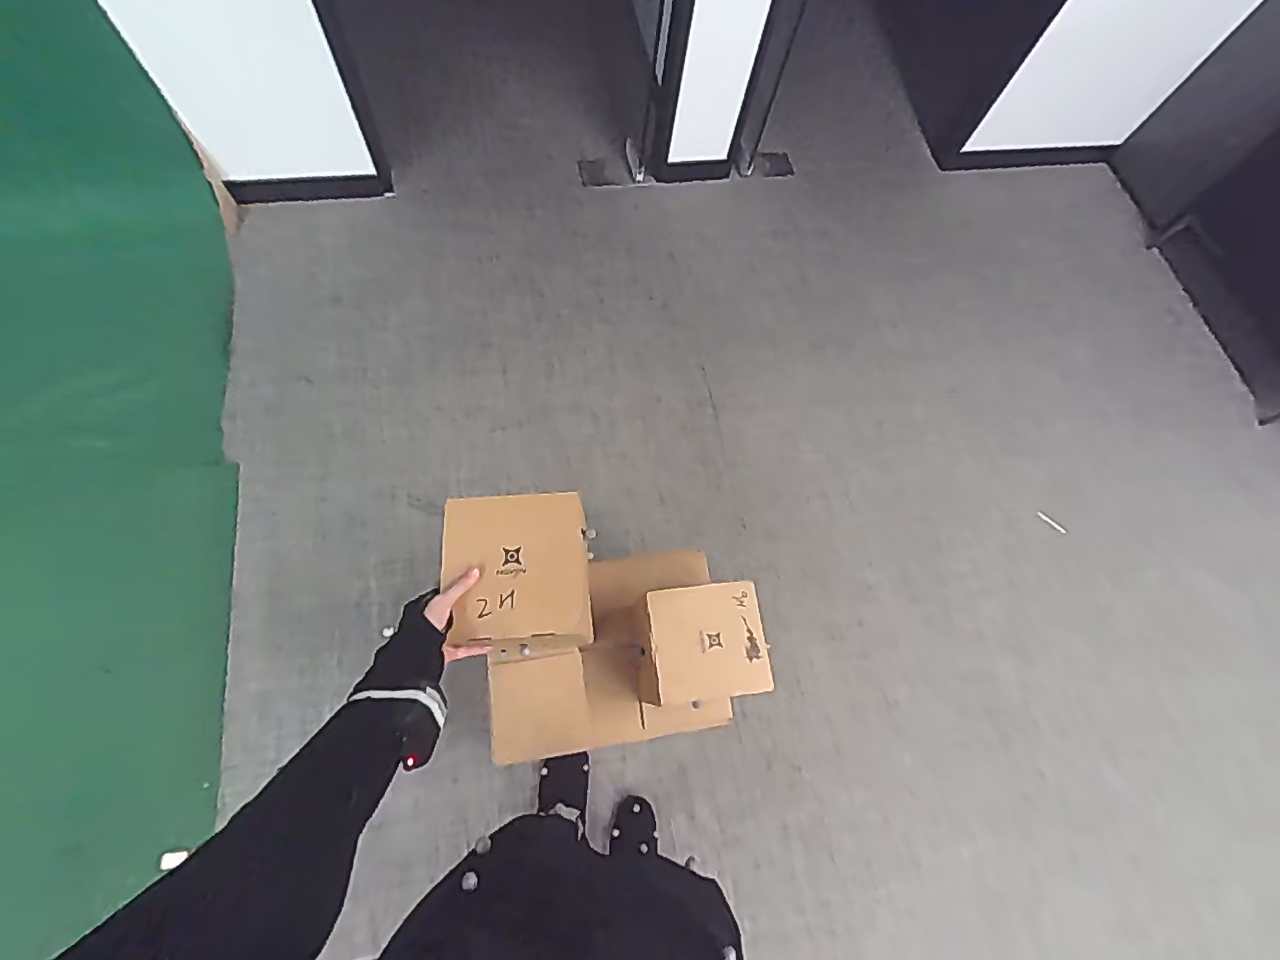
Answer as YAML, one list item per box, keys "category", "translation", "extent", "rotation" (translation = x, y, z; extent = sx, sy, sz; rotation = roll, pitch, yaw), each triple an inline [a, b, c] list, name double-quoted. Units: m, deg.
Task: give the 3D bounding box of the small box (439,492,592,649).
- category: "small box"
  translation: [-0.154, 0.127, 0.722]
  extent: [0.168, 0.176, 0.179]
  rotation: [-3, 70, -1]

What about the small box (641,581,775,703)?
- category: "small box"
  translation: [0.097, 0.264, 0.878]
  extent: [0.179, 0.176, 0.168]
  rotation: [-4, 72, -8]
